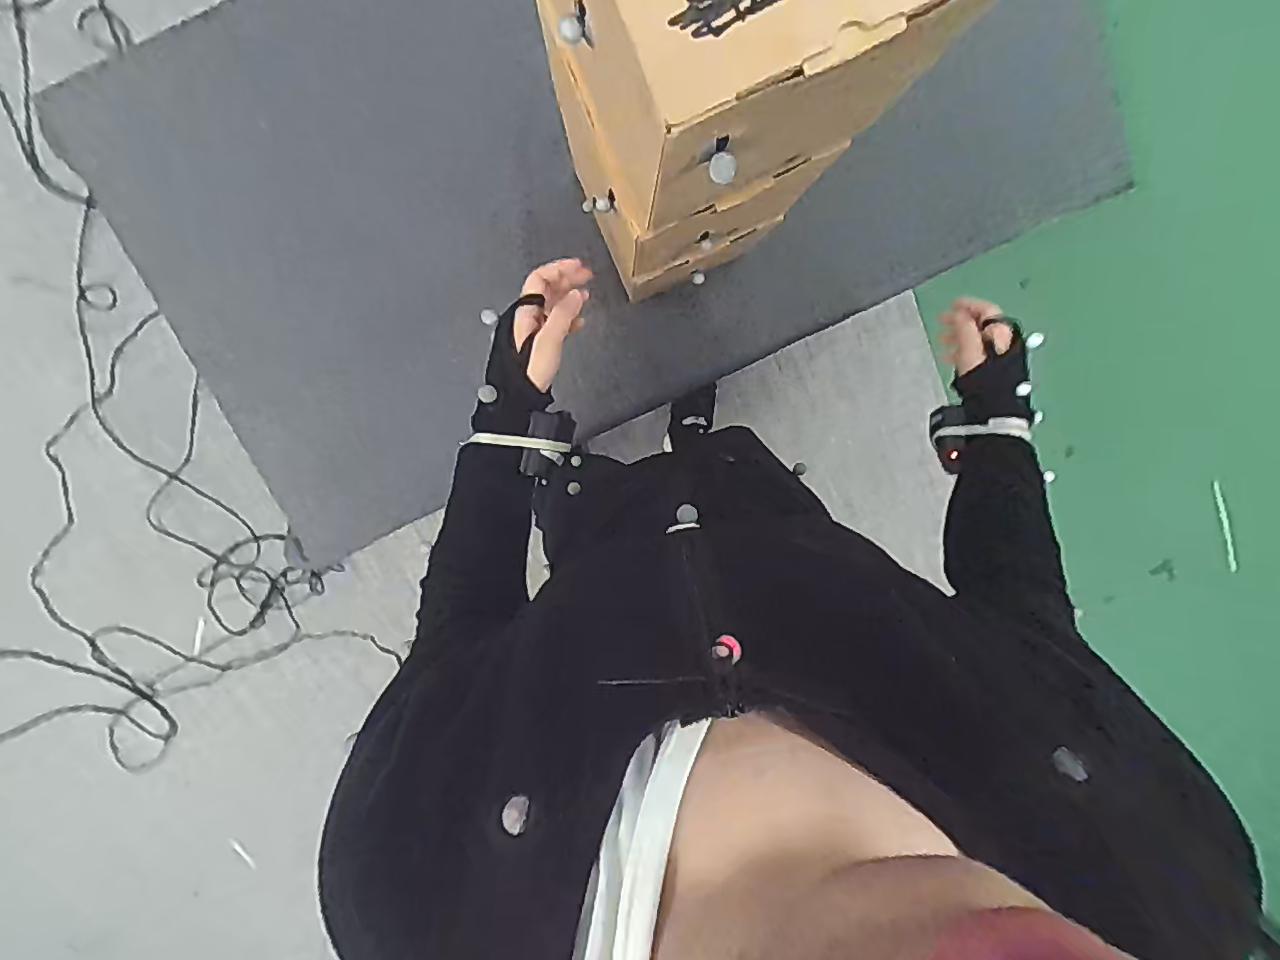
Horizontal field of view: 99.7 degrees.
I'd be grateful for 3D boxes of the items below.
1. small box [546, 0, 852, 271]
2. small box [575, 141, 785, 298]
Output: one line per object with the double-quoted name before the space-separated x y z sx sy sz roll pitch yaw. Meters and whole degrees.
"small box" 0.036 -0.295 0.439 0.168 0.176 0.179 -24 102 2
"small box" 0.034 -0.323 0.596 0.168 0.176 0.179 -23 101 4
